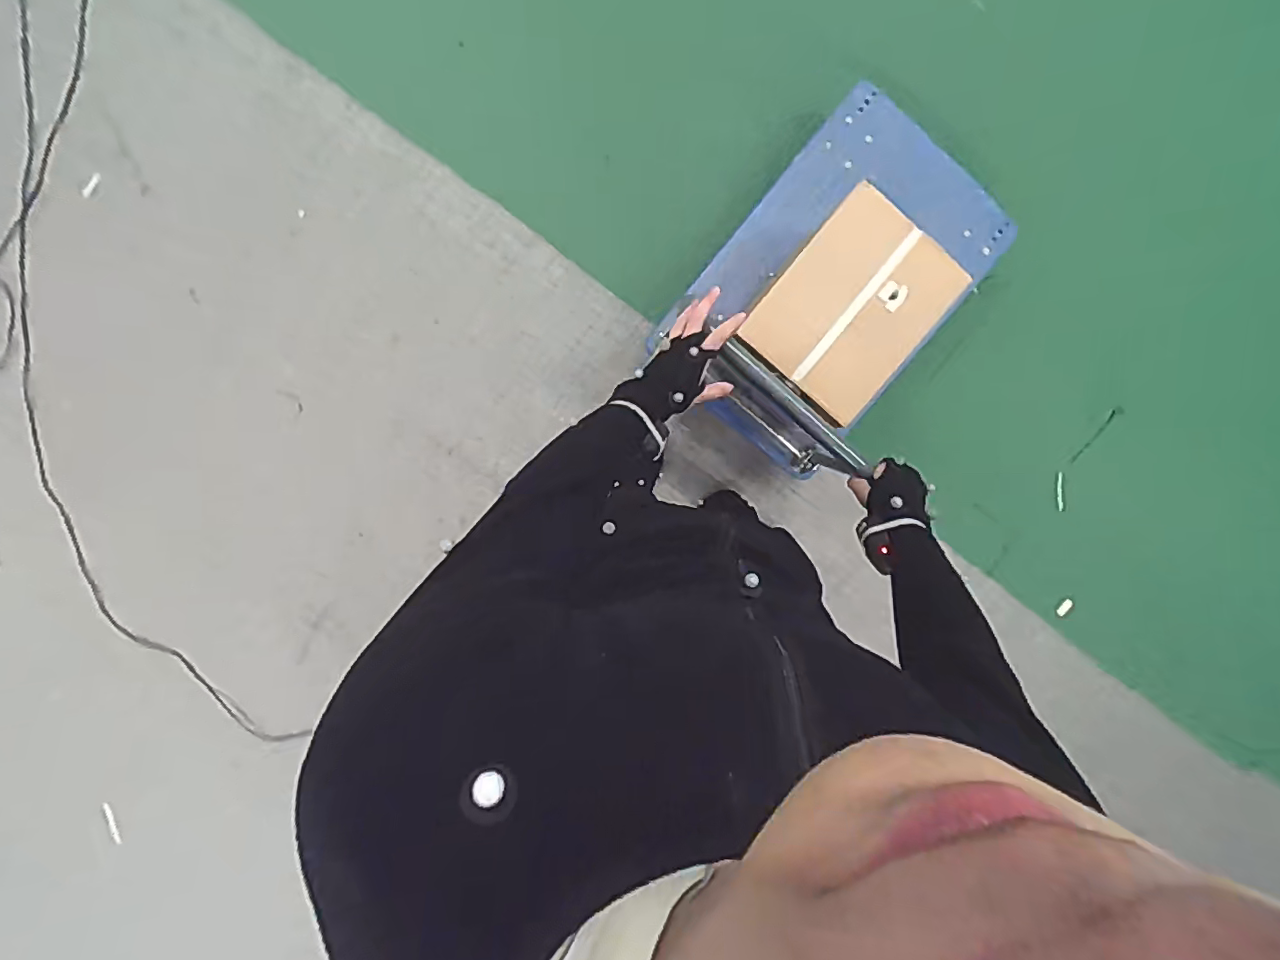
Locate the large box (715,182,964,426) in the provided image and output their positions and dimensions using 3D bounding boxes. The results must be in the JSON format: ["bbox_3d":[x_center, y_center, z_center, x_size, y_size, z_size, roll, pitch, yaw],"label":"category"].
[{"bbox_3d":[0.435,-0.377,1.275,0.320,0.320,0.408,40,93,-5],"label":"large box"}]
